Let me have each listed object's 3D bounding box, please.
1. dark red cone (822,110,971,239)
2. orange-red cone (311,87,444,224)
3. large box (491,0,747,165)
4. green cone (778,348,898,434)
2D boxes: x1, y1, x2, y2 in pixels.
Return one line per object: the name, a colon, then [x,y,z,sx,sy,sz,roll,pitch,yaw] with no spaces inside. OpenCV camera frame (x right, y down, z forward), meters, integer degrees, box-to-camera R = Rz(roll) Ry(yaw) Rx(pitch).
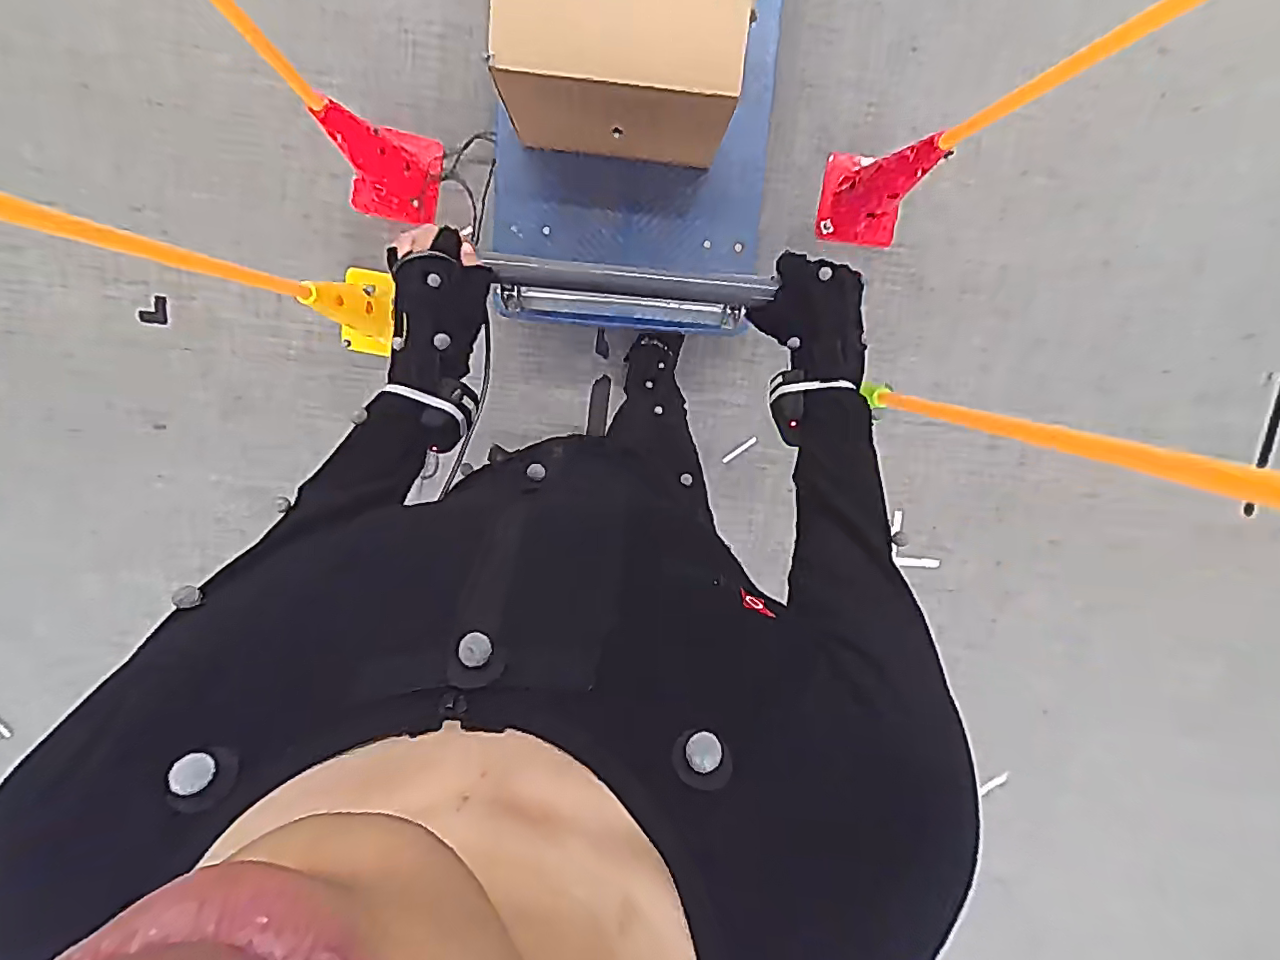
dark red cone: [0.559,-0.670,1.152,0.201,0.394,0.202,6,101,-5]
orange-red cone: [-0.575,-0.708,1.129,0.198,0.360,0.199,13,98,-5]
large box: [-0.030,-0.805,0.982,0.408,0.320,0.320,5,101,-2]
green cone: [0.482,-0.201,1.253,0.202,0.368,0.200,10,100,-5]
